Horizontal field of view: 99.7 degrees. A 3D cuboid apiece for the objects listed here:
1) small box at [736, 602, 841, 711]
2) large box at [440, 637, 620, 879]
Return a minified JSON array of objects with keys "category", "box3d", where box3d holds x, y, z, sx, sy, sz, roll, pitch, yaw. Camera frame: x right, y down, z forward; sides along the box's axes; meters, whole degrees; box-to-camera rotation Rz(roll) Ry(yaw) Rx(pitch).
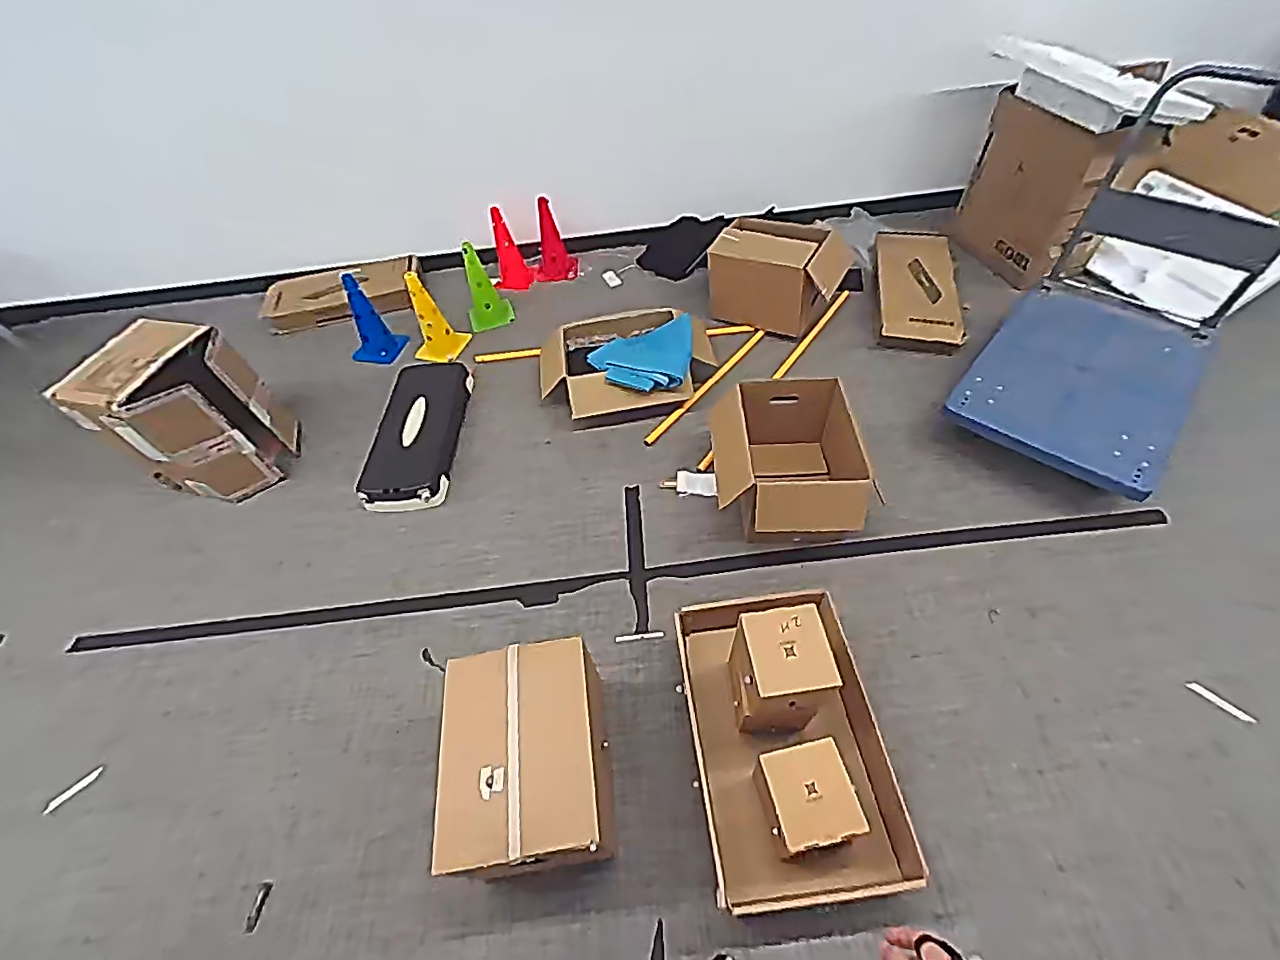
[{"category":"small box","box3d":[0.309,0.385,1.162,0.168,0.176,0.179,-8,54,-2]},{"category":"large box","box3d":[-0.235,0.623,1.218,0.320,0.320,0.408,-11,53,-1]}]
